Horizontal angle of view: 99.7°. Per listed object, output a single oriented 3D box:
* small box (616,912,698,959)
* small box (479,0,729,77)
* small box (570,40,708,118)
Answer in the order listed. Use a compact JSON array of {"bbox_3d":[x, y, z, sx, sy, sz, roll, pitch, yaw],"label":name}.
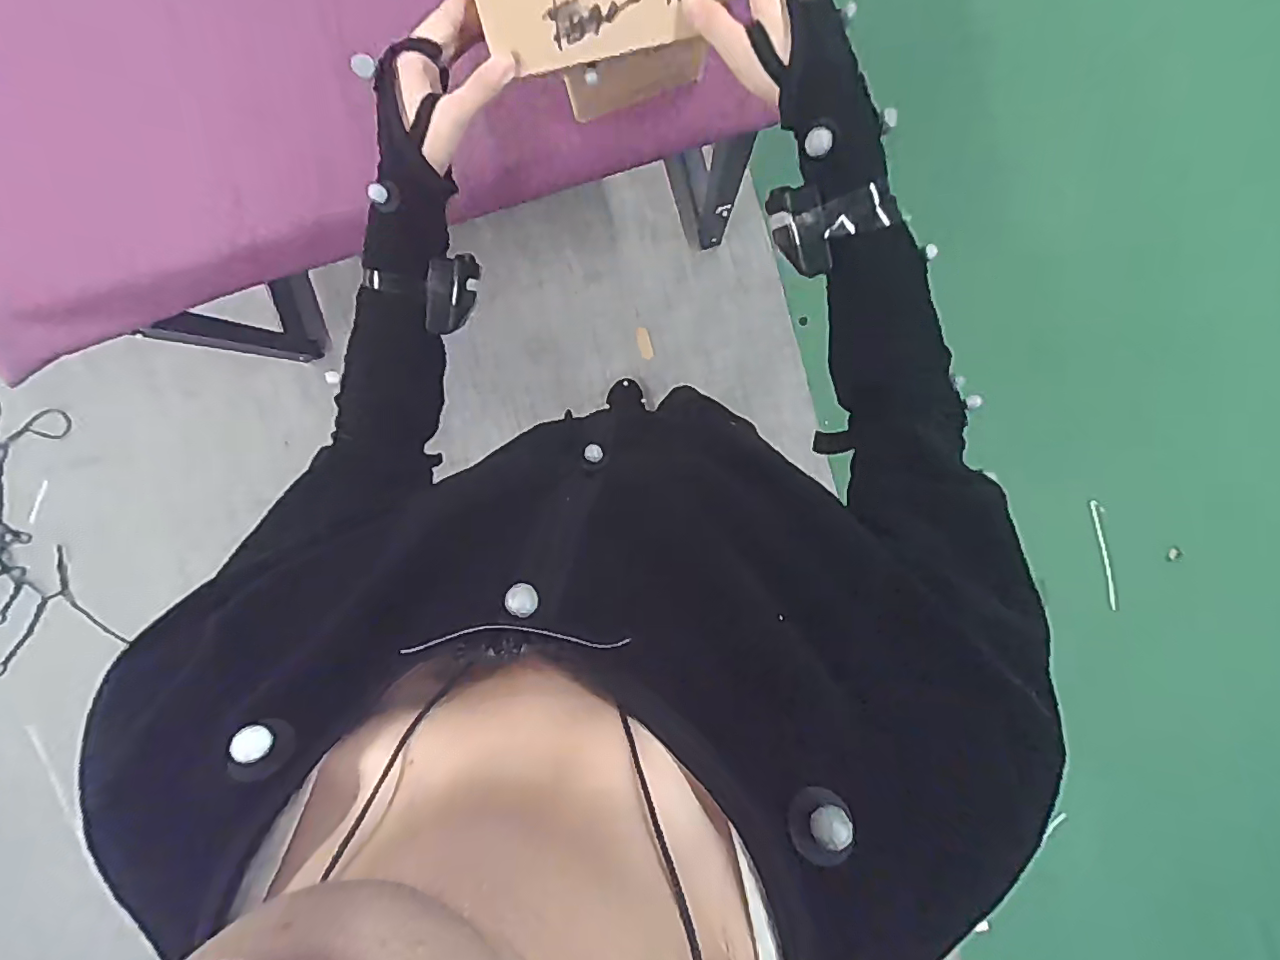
[{"bbox_3d":[0.043,1.234,1.356,0.168,0.176,0.179,-23,93,8],"label":"small box"},{"bbox_3d":[-0.031,-0.411,0.385,0.168,0.176,0.179,-7,126,10],"label":"small box"},{"bbox_3d":[-0.020,-0.574,0.635,0.179,0.176,0.168,-17,97,7],"label":"small box"}]
